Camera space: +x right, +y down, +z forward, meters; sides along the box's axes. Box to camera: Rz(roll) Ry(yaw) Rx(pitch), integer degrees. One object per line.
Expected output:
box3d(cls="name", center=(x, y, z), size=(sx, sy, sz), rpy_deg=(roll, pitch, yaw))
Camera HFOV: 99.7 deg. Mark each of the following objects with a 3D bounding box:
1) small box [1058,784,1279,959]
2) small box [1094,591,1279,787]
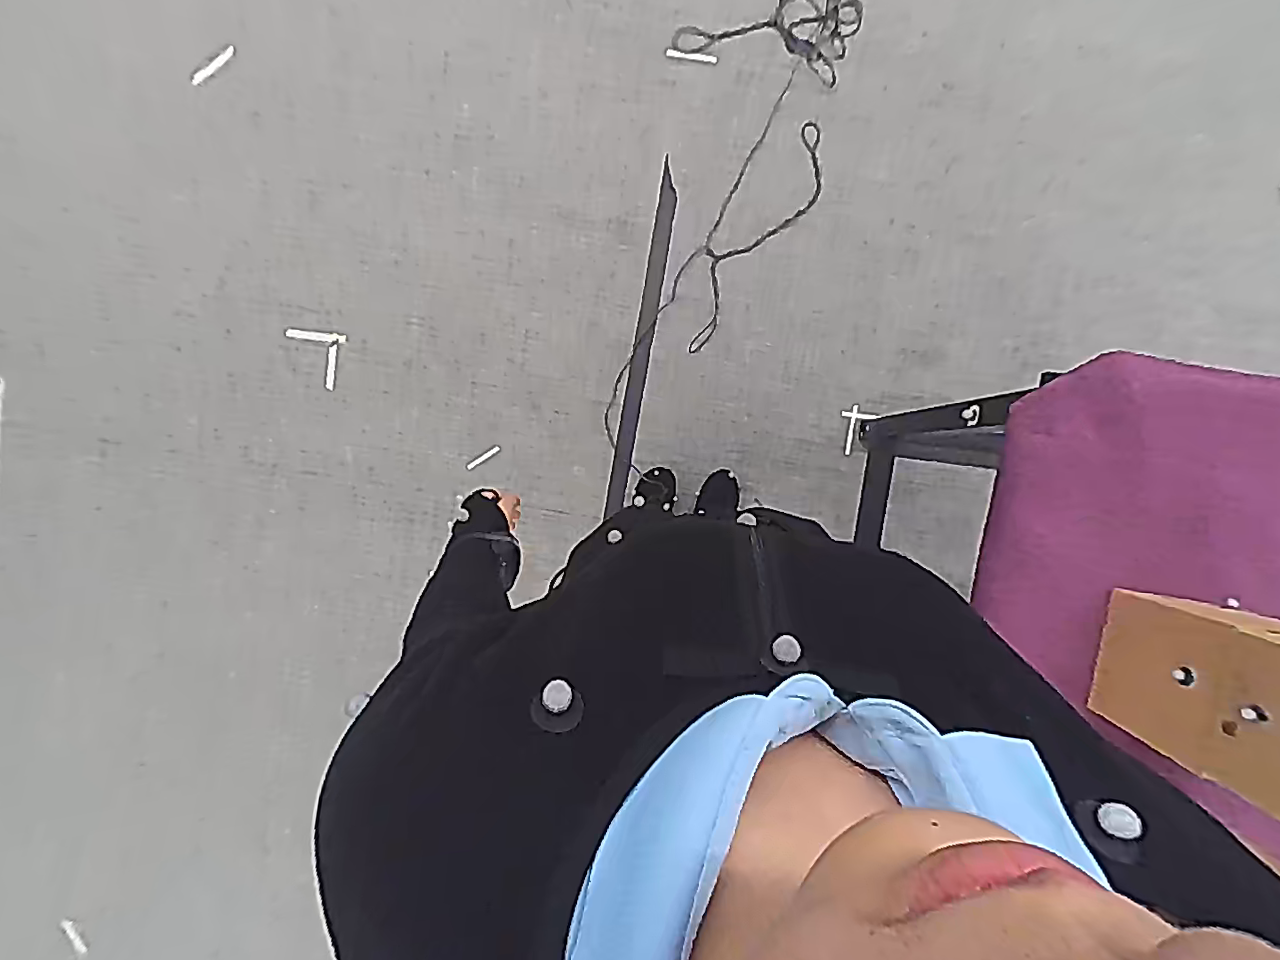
box3d(cls="small box", center=(0.684, 0.533, 0.690), size=(0.168, 0.176, 0.179), rpy_deg=(10, 93, 2))
box3d(cls="small box", center=(0.720, 0.250, 0.672), size=(0.168, 0.176, 0.179), rpy_deg=(9, 94, 2))
